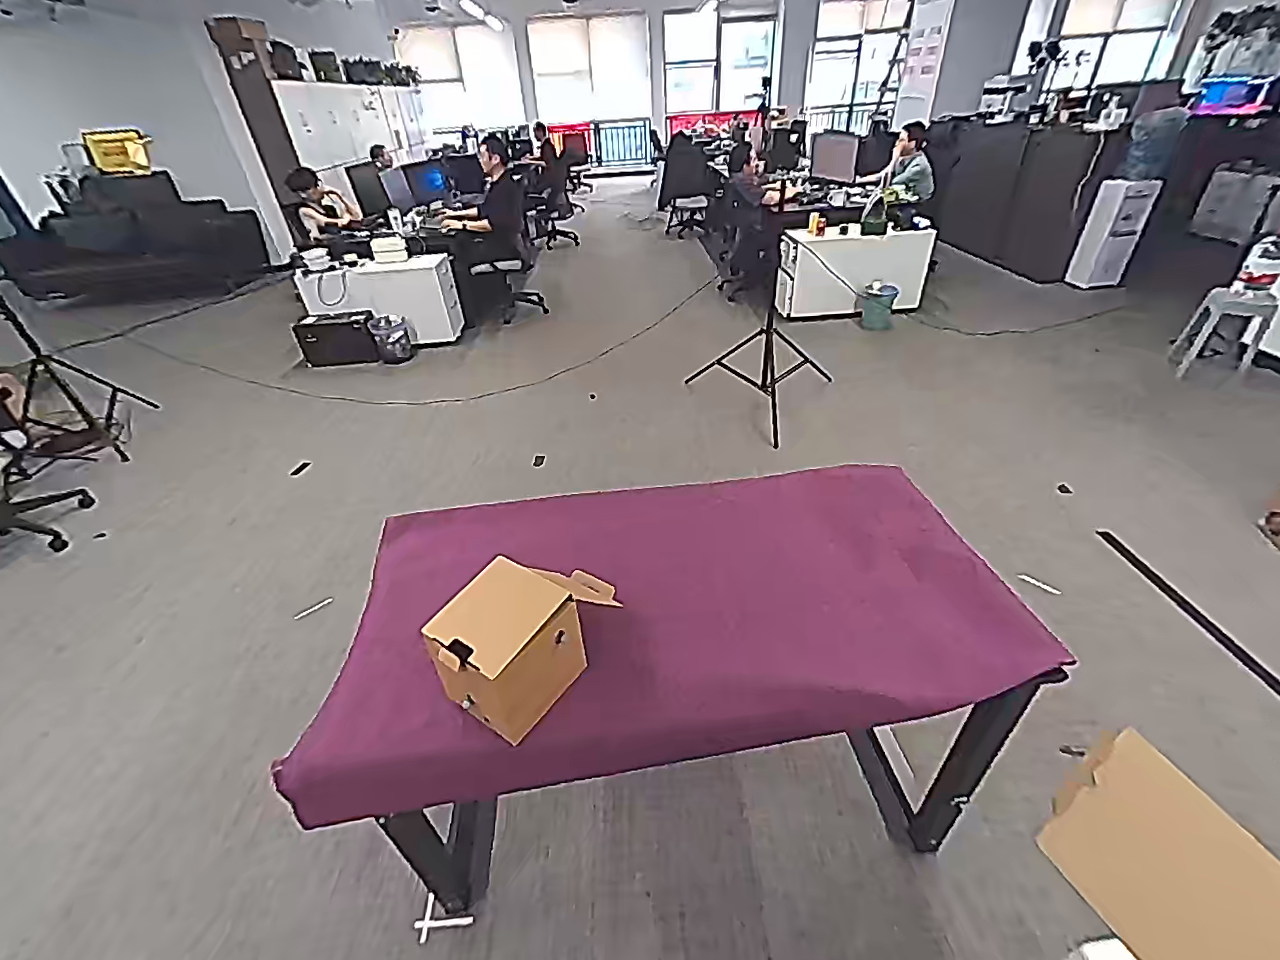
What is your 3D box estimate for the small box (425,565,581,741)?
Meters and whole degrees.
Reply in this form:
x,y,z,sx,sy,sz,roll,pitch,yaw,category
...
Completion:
x,y,z,sx,sy,sz,roll,pitch,yaw,category
-0.211,0.276,0.882,0.168,0.176,0.179,18,40,31,small box
